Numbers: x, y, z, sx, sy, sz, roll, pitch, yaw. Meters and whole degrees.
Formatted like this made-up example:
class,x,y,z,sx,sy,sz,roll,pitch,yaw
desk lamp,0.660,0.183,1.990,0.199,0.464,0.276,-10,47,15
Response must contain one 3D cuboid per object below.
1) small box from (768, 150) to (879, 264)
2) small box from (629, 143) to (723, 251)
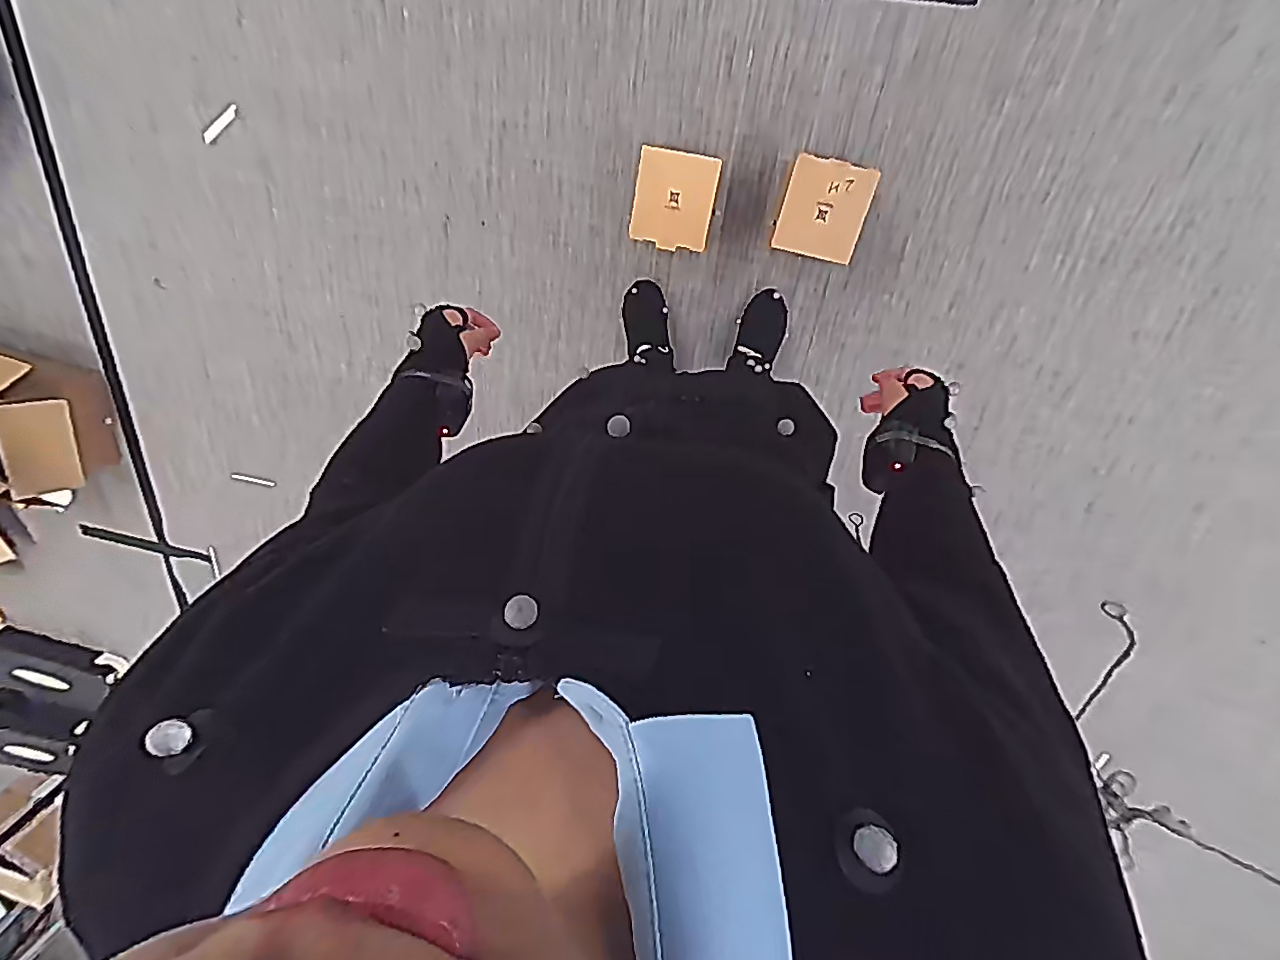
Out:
class,x,y,z,sx,sy,sz,roll,pitch,yaw
small box,0.375,-0.573,1.143,0.168,0.176,0.179,14,117,1
small box,0.080,-0.610,1.176,0.168,0.176,0.179,12,117,4
